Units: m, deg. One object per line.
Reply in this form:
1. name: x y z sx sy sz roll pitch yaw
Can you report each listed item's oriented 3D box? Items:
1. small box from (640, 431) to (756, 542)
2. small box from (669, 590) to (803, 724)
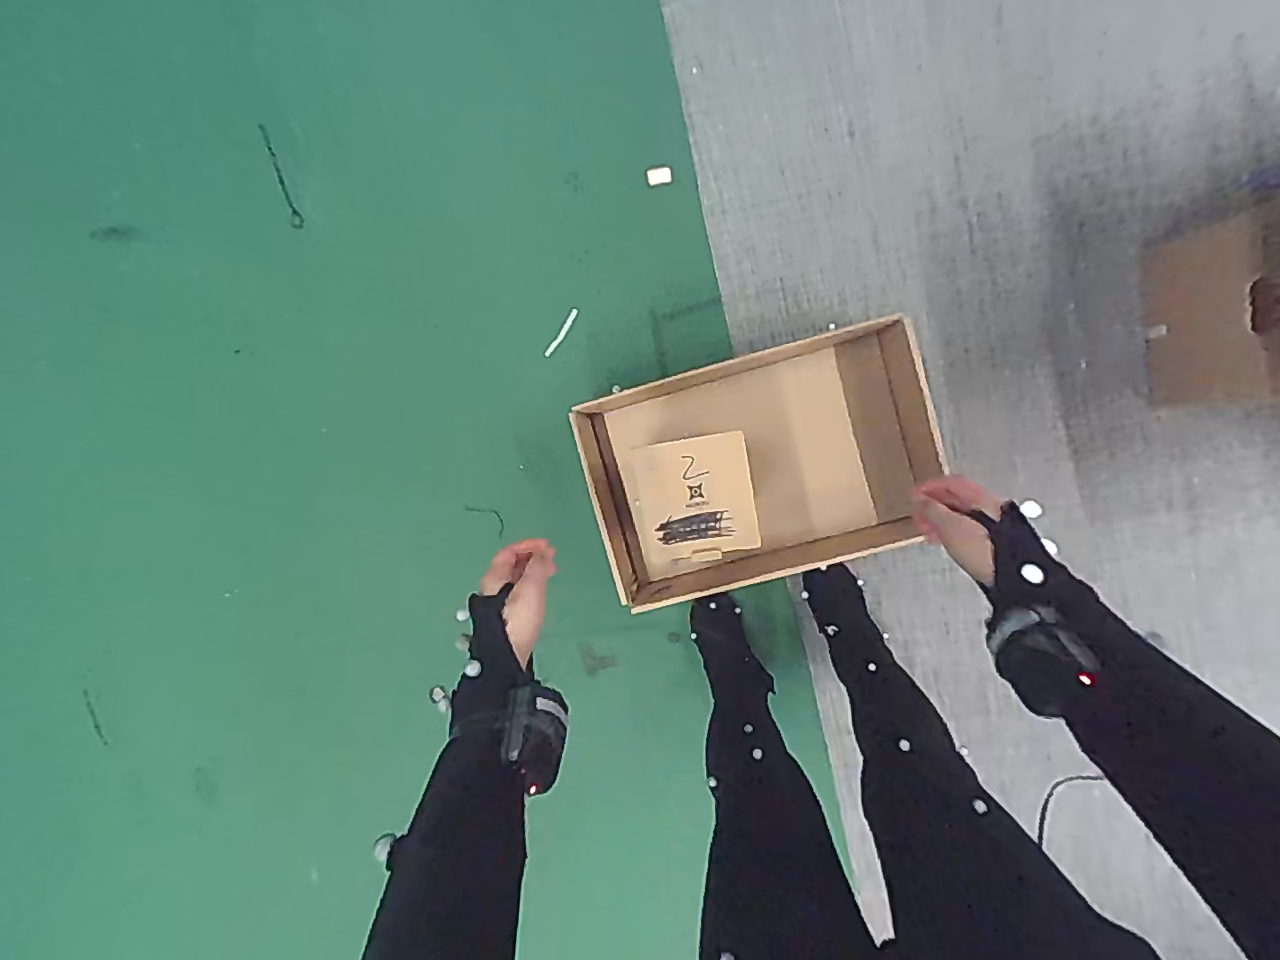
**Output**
1. small box: 0.110 0.010 1.029 0.179 0.176 0.168 -15 92 5
2. small box: 0.196 0.348 1.076 0.176 0.168 0.179 38 71 -26
